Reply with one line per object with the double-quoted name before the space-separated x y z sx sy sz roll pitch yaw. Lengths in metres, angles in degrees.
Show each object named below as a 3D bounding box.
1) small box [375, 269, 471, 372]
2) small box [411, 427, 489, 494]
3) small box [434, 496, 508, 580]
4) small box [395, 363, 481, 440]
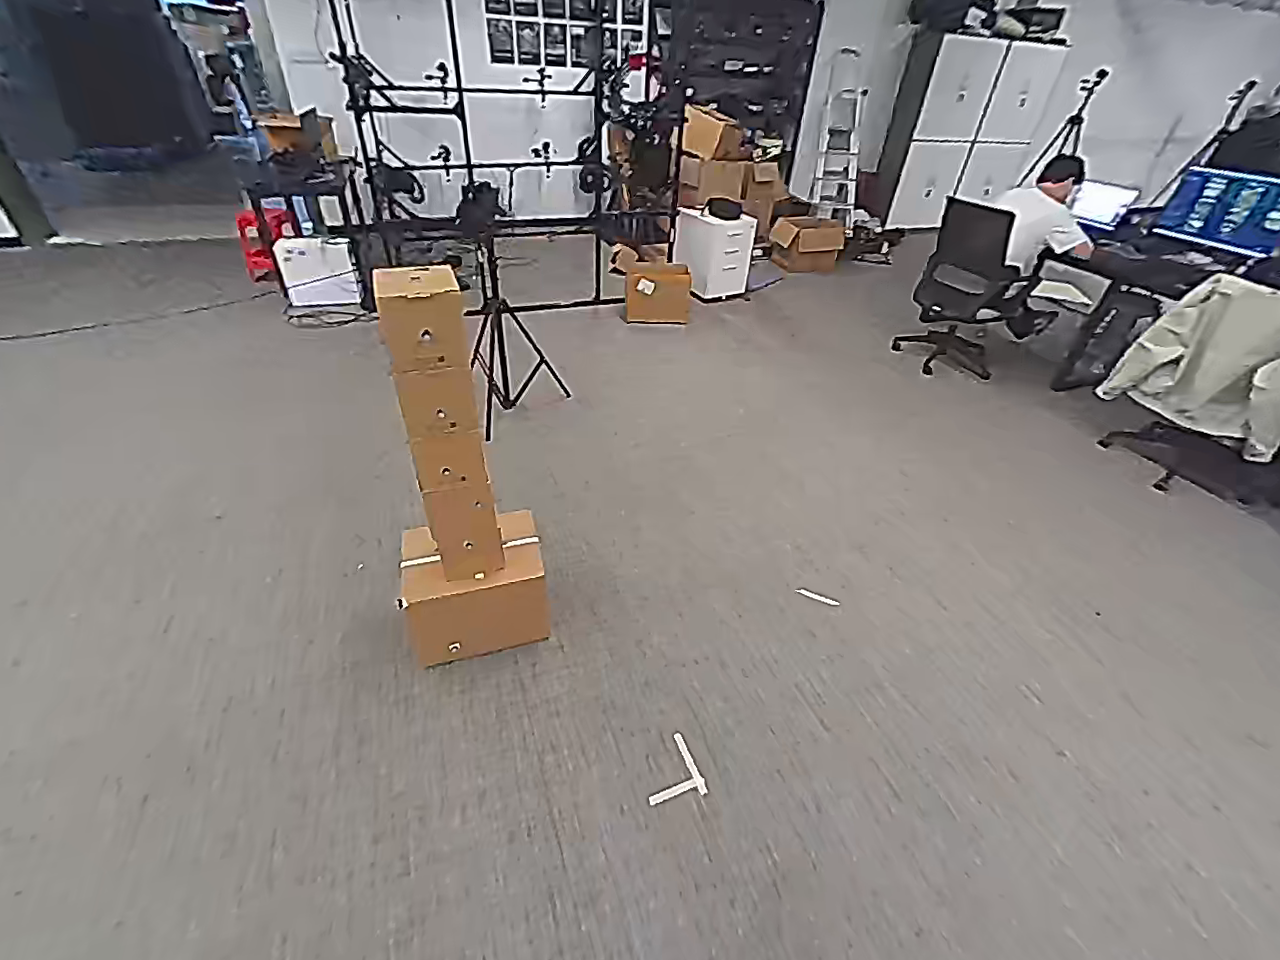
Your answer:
"small box" -0.479 -0.351 1.202 0.168 0.176 0.179 -12 42 -19
"small box" -0.493 -0.088 1.399 0.168 0.176 0.179 -11 41 -18
"small box" -0.498 0.173 1.595 0.179 0.176 0.168 -10 41 -19
"small box" -0.487 -0.219 1.299 0.168 0.176 0.179 -12 42 -18
